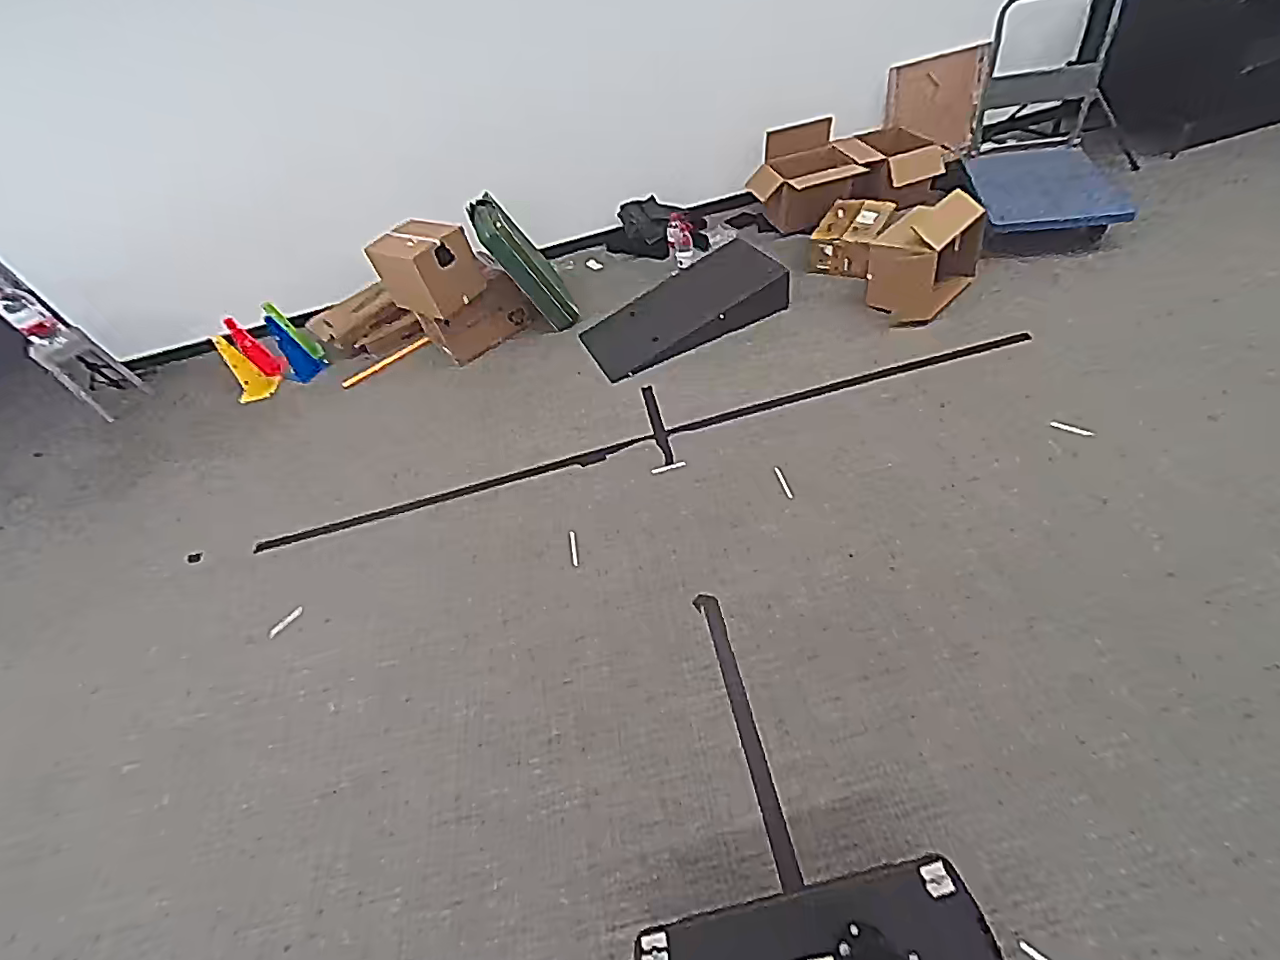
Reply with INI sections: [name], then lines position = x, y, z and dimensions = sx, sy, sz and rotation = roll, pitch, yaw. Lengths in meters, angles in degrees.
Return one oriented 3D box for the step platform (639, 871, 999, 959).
[step platform]
position = 0.335, 0.993, 1.025
dimensions = 0.684, 0.204, 0.286
rotation = -15, 48, -1
